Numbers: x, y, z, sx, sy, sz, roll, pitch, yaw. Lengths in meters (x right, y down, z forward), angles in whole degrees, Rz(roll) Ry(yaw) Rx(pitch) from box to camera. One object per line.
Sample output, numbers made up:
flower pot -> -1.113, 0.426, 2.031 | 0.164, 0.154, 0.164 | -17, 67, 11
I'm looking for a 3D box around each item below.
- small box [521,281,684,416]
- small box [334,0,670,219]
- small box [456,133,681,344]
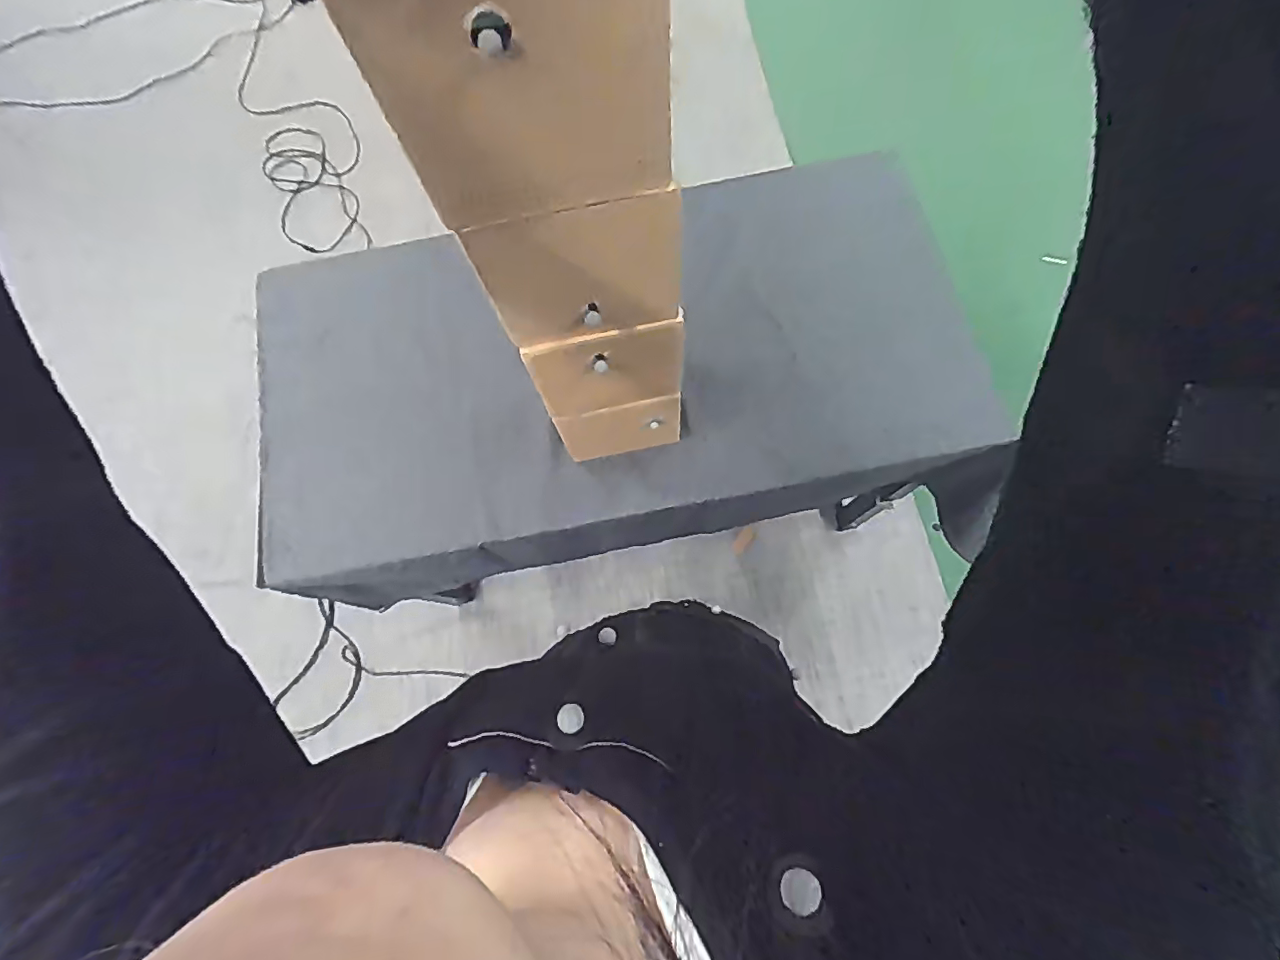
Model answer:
small box -> -0.049, -0.197, 0.665 | 0.179, 0.176, 0.168 | -12, 72, 0
small box -> -0.080, -0.305, 0.357 | 0.179, 0.176, 0.168 | -12, 72, 0
small box -> -0.063, -0.252, 0.512 | 0.179, 0.176, 0.168 | -10, 71, 0
